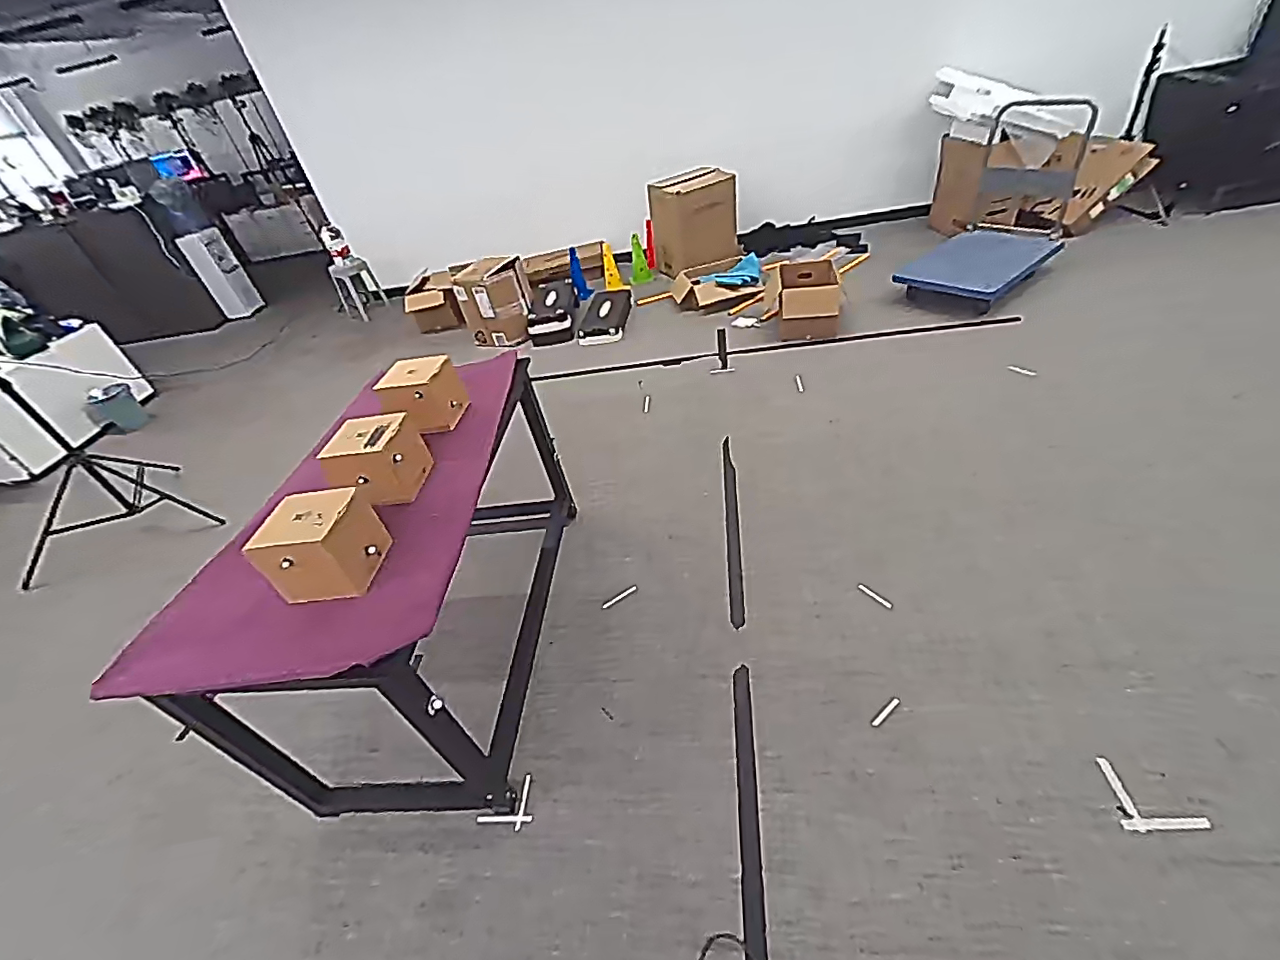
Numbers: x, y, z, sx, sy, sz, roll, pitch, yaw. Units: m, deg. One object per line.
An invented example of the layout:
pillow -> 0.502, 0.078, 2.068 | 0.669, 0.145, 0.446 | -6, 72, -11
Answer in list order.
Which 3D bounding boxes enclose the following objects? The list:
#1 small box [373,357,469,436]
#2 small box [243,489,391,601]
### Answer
small box -> -0.643, -0.244, 1.610 | 0.179, 0.176, 0.168 | -4, 40, 12
small box -> -0.672, 0.142, 1.148 | 0.179, 0.176, 0.168 | -7, 38, 7
